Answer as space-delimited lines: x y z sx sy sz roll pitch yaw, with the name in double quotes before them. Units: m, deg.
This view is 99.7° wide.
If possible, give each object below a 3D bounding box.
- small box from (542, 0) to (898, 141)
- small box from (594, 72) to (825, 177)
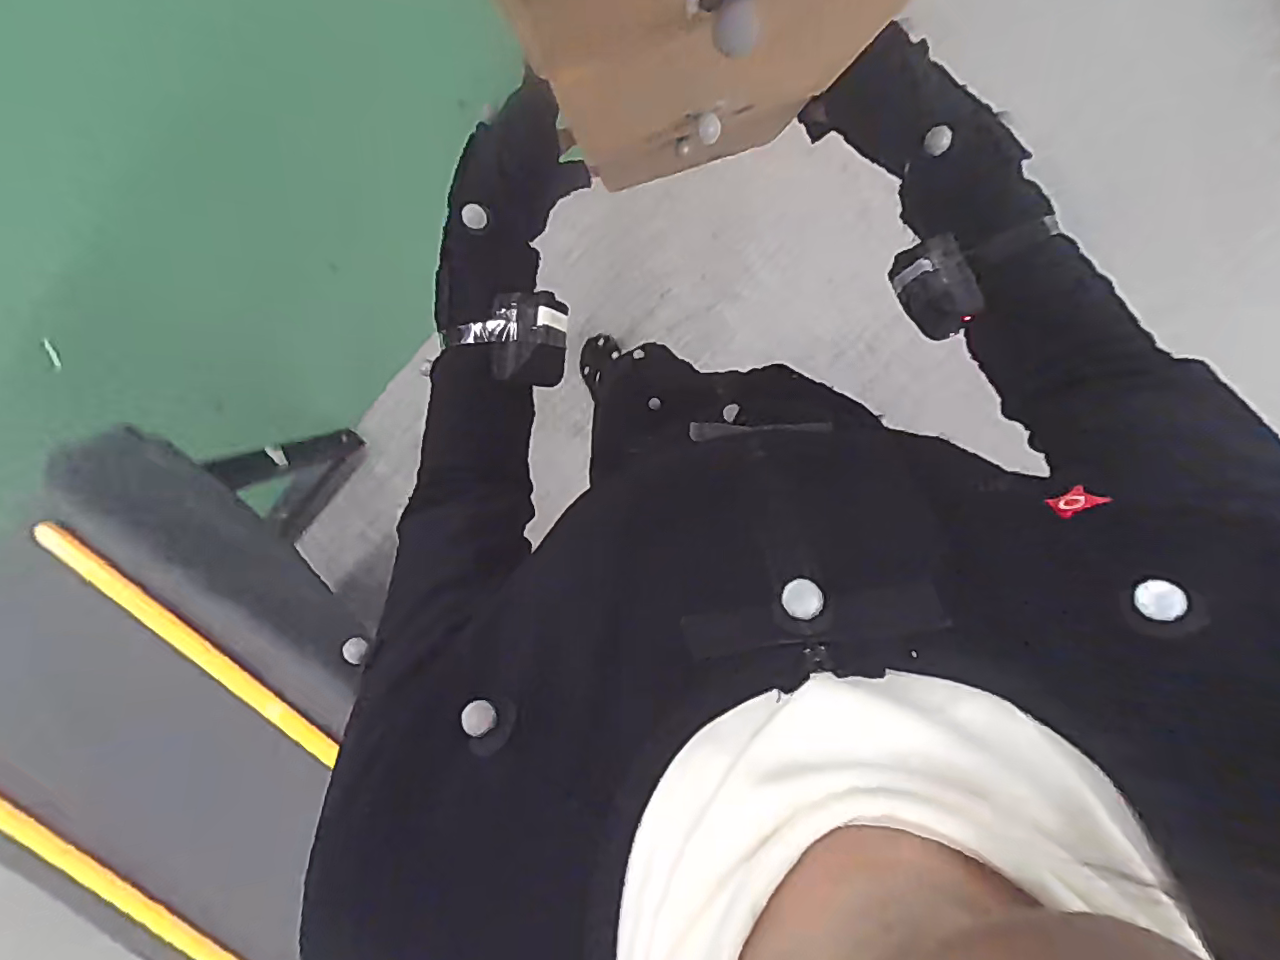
"small box" 0.025 -0.296 0.257 0.168 0.176 0.179 -13 110 6
"small box" 0.029 -0.359 0.409 0.168 0.176 0.179 -13 109 6
